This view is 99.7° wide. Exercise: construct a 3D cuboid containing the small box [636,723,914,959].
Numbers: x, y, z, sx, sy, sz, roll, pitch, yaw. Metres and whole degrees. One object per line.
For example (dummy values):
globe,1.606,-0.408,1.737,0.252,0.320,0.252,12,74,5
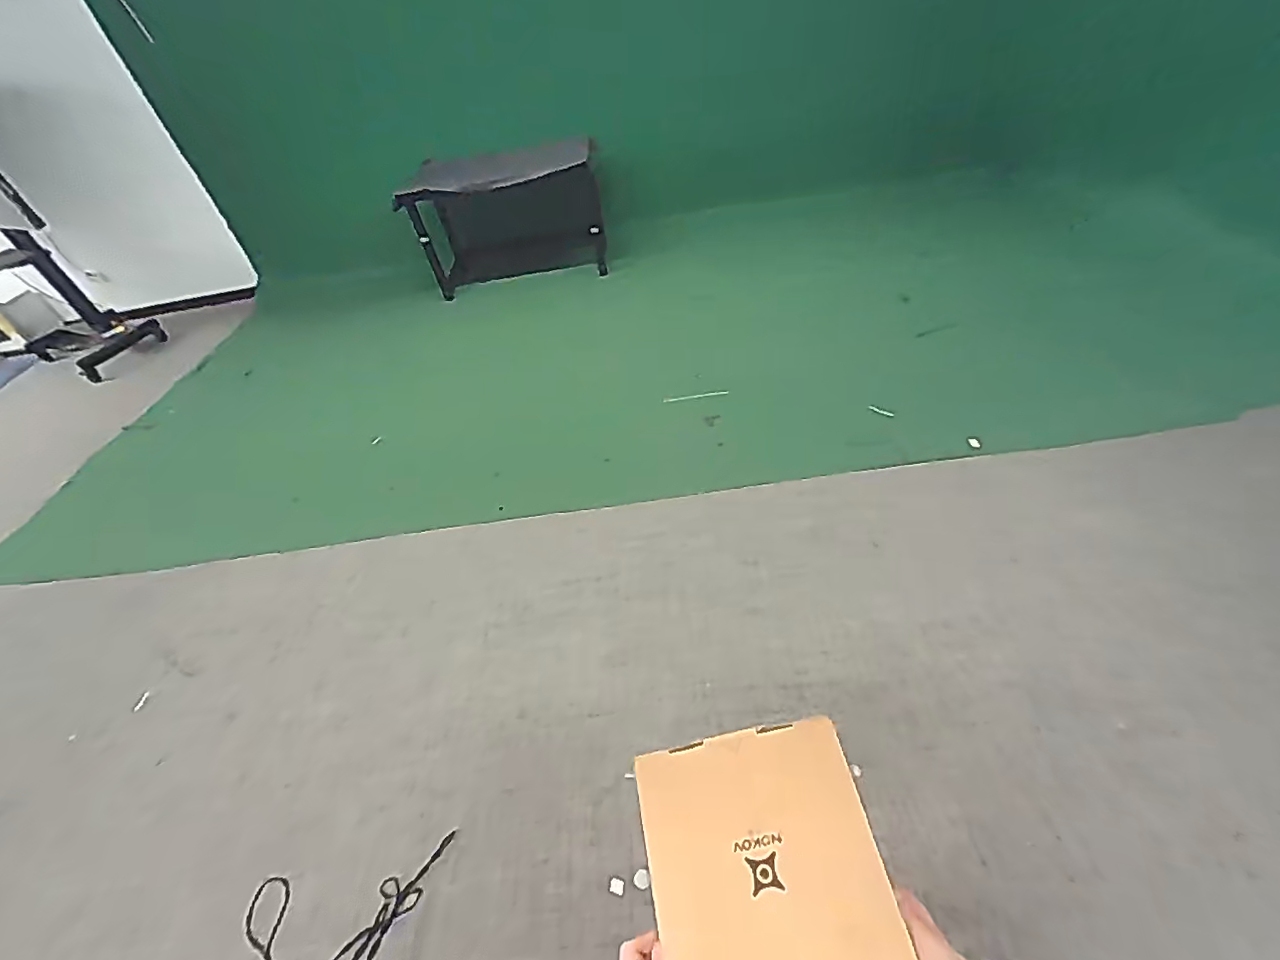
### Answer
small box,0.101,0.325,0.448,0.168,0.176,0.179,-13,52,1
